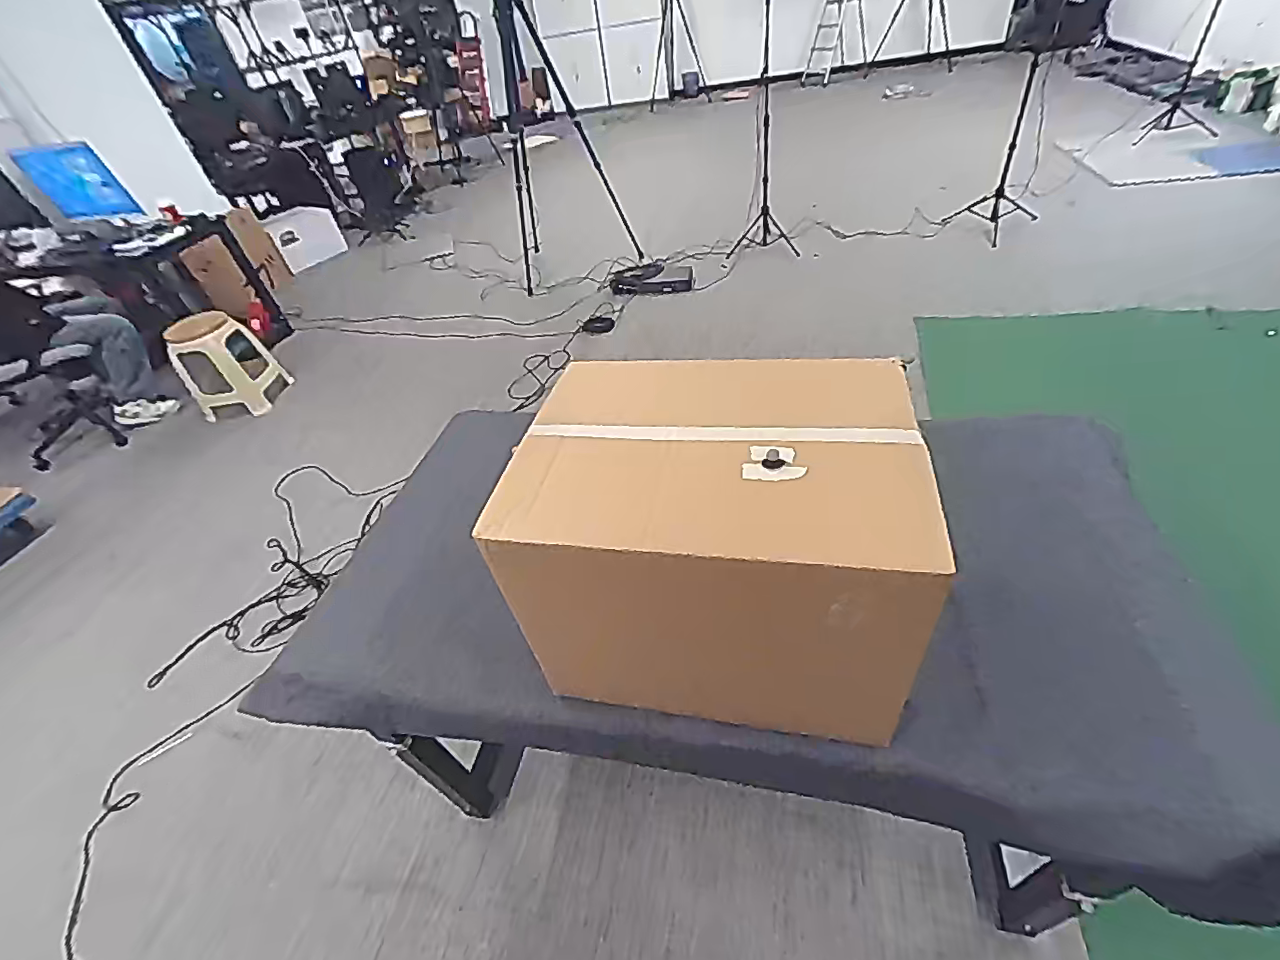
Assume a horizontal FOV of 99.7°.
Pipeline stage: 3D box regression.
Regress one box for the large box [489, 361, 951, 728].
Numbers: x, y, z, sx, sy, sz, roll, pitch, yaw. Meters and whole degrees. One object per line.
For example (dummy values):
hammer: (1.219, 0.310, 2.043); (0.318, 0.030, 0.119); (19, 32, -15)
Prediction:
large box: (0.095, 0.065, 0.664); (0.408, 0.320, 0.320); (3, 43, 14)
